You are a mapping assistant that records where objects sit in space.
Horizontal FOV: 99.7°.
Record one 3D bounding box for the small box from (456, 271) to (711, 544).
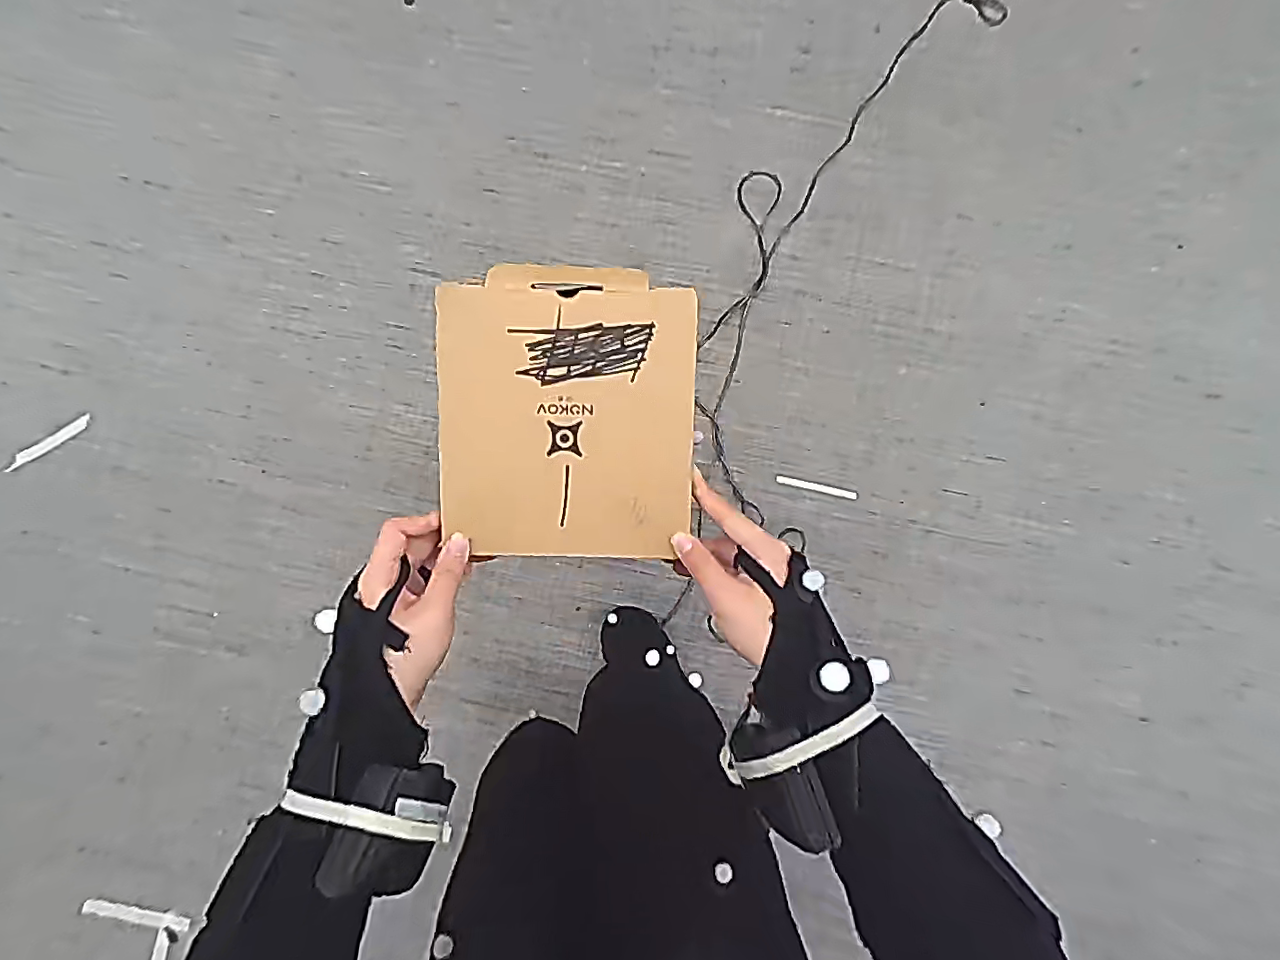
[{"bbox_3d":[-0.040,-0.052,0.434,0.168,0.176,0.179,1,96,-1],"label":"small box"}]
